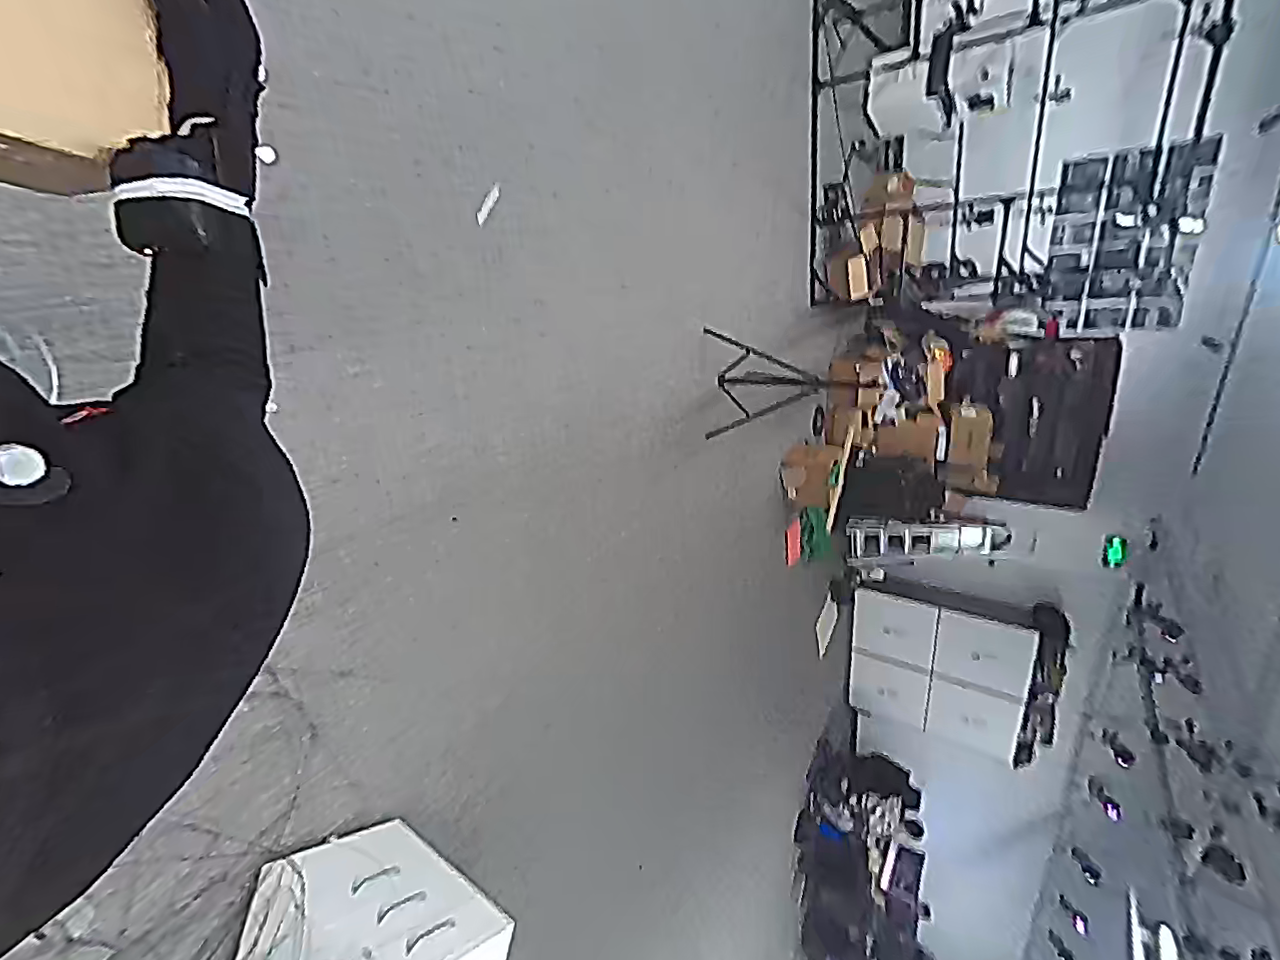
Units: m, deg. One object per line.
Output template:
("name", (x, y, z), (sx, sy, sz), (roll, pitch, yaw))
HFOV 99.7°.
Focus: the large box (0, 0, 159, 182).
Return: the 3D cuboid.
("large box", (-0.576, -0.397, 0.290), (0.408, 0.320, 0.320), (-10, 113, -56))
